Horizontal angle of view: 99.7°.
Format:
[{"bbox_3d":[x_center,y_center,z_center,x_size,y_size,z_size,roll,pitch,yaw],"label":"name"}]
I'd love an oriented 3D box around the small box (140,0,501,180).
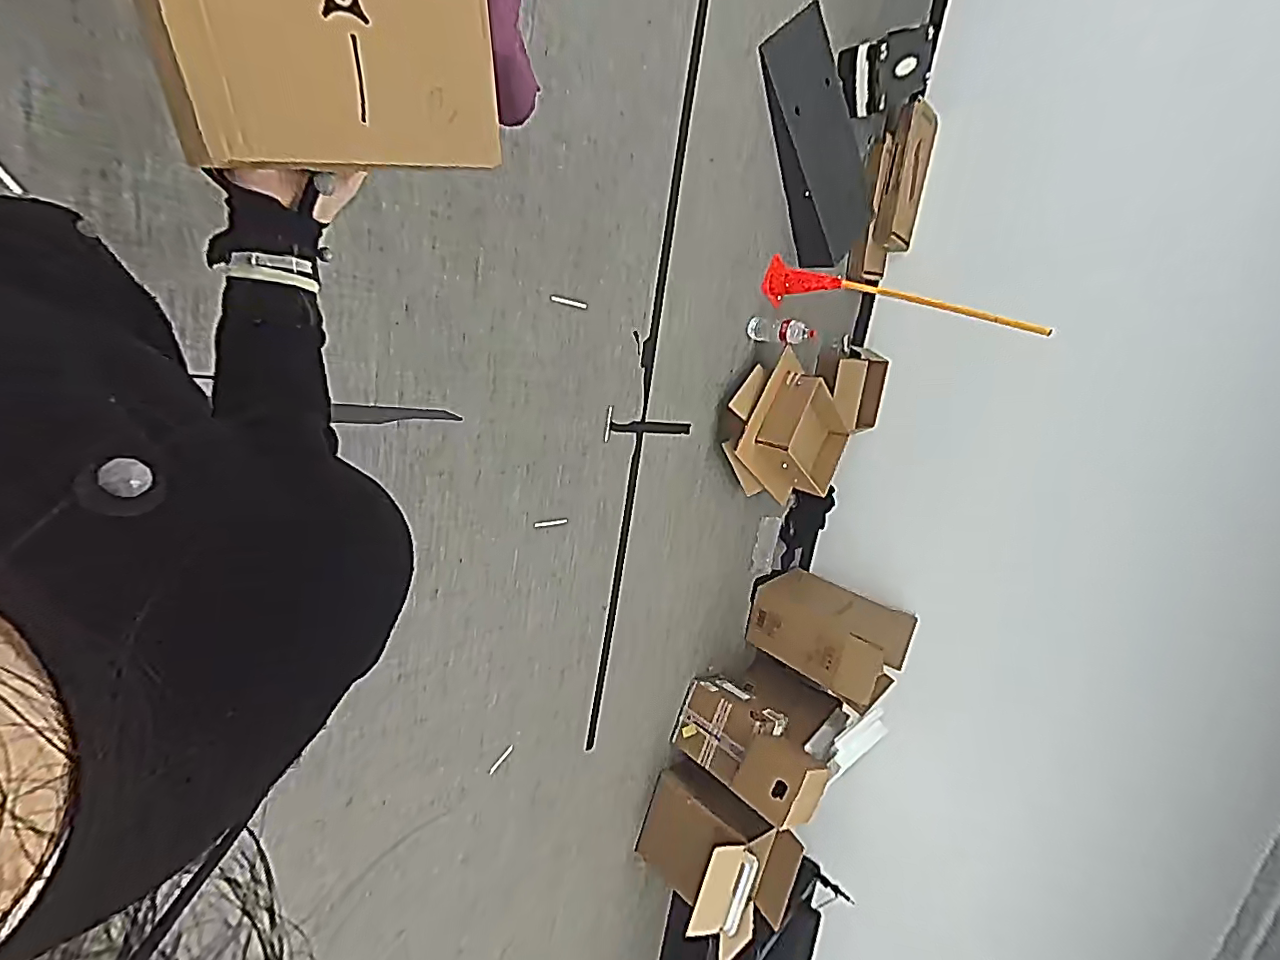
[{"bbox_3d":[-0.208,-0.294,0.344,0.168,0.176,0.179,-21,126,-34],"label":"small box"}]
